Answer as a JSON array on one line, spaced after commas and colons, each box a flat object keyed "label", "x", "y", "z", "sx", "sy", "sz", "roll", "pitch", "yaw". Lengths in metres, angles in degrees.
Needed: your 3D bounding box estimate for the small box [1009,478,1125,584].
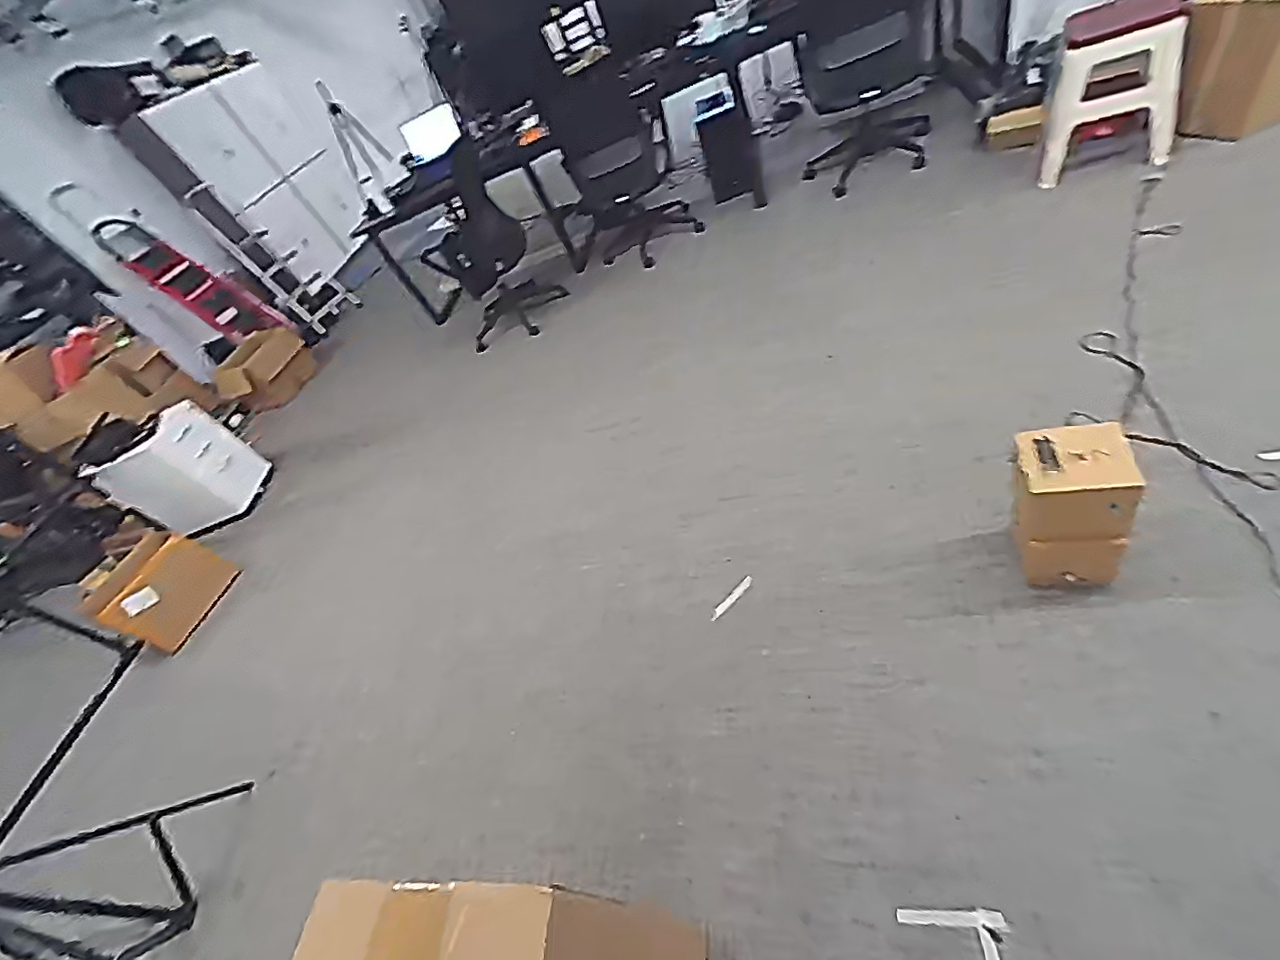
[{"label": "small box", "x": 0.954, "y": 0.118, "z": 1.227, "sx": 0.168, "sy": 0.176, "sz": 0.179, "roll": -7, "pitch": 49, "yaw": 26}]
